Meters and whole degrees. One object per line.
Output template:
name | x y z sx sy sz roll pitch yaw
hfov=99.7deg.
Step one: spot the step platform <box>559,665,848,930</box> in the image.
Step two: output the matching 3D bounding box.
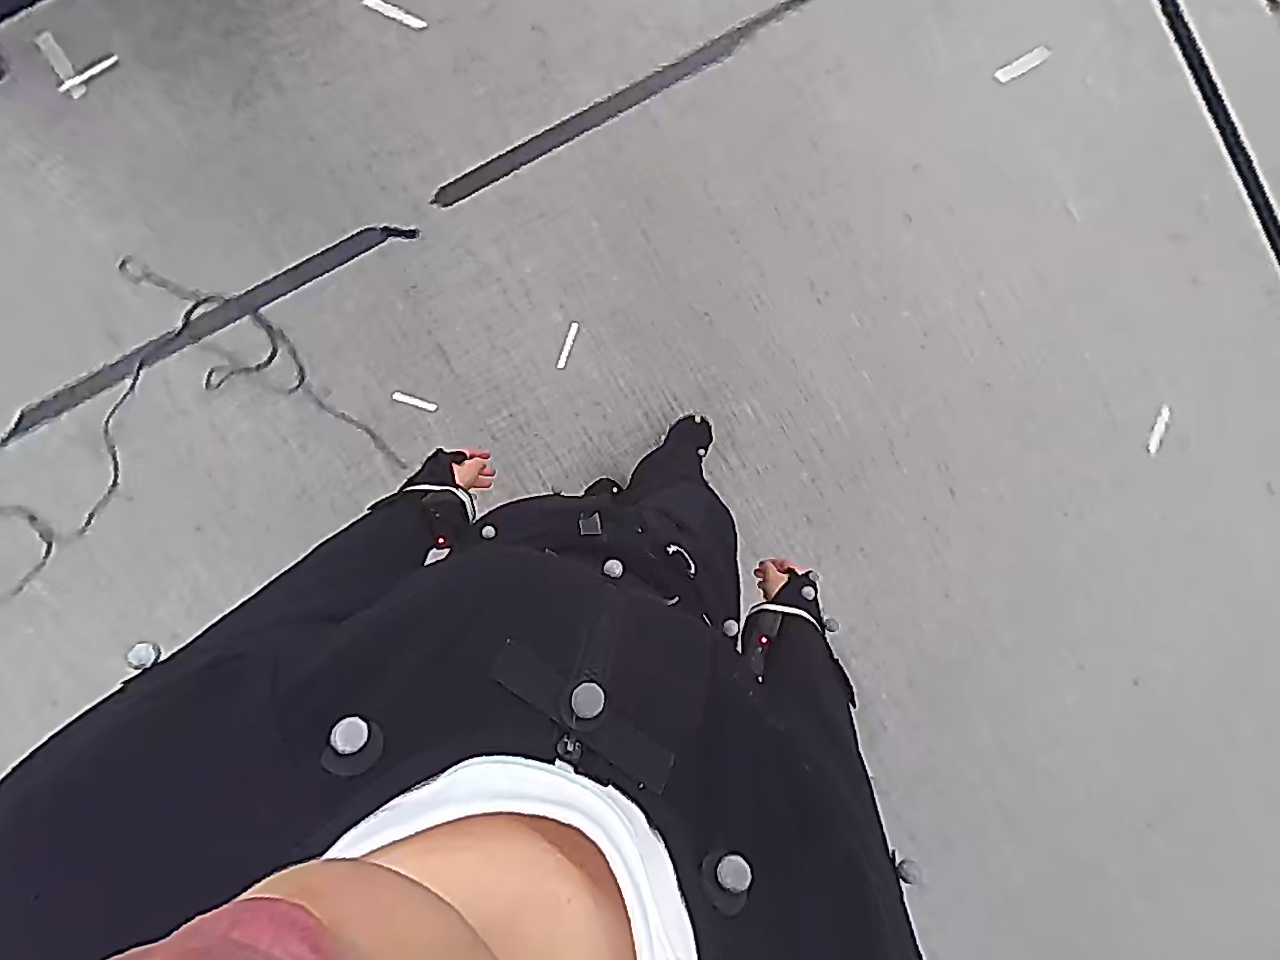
step platform | 0.148 0.754 1.315 0.684 0.204 0.286 -30 95 -3
